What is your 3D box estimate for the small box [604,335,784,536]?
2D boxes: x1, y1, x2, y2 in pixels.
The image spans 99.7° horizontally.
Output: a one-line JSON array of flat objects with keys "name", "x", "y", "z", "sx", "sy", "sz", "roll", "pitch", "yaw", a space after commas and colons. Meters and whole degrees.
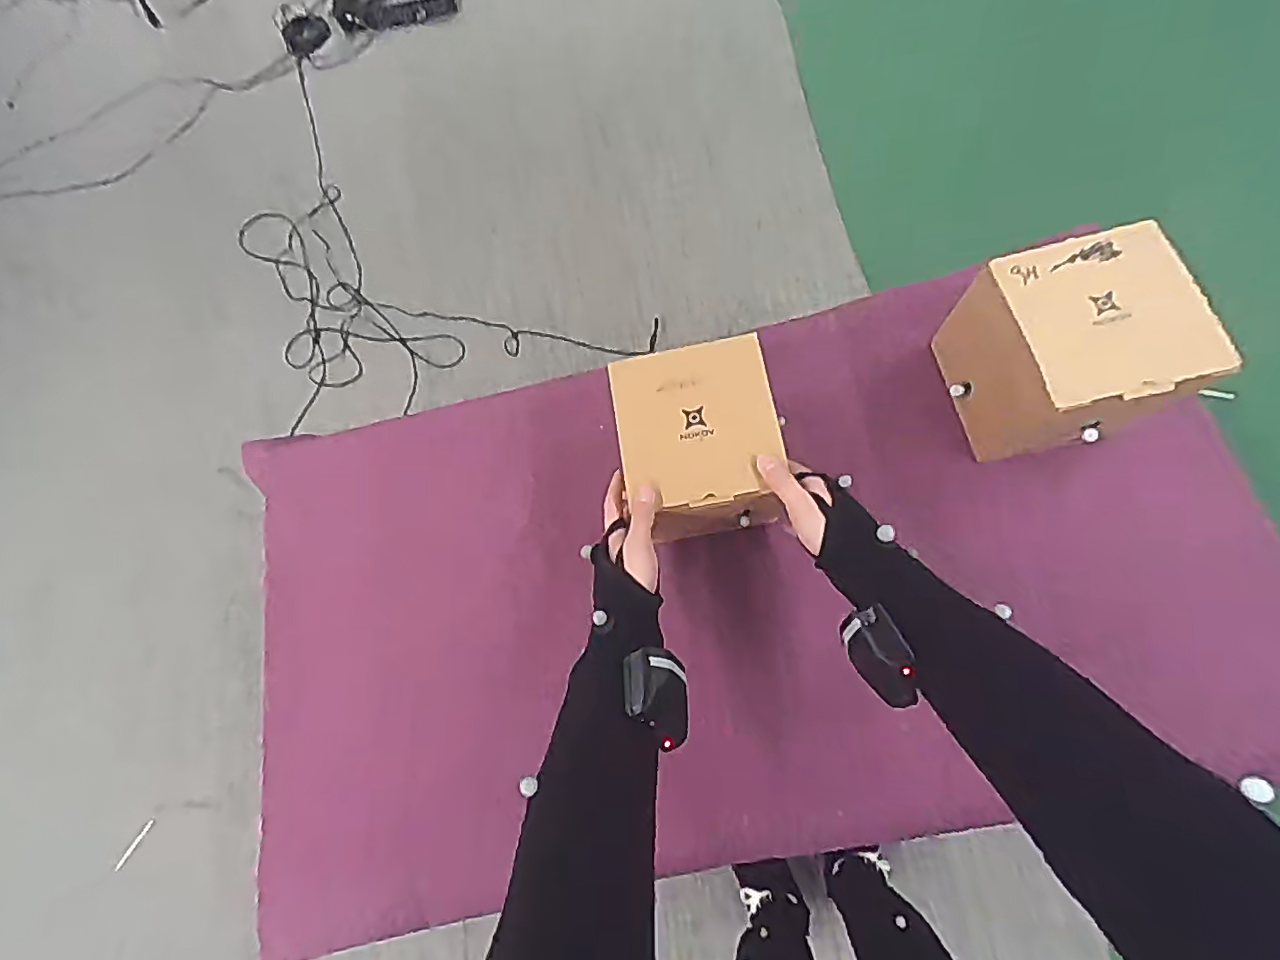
[{"name": "small box", "x": 0.063, "y": -0.037, "z": 0.634, "sx": 0.168, "sy": 0.176, "sz": 0.179, "roll": -11, "pitch": 72, "yaw": 5}]

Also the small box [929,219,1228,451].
[{"name": "small box", "x": 0.456, "y": -0.143, "z": 0.601, "sx": 0.168, "sy": 0.176, "sz": 0.179, "roll": -13, "pitch": 73, "yaw": 5}]
